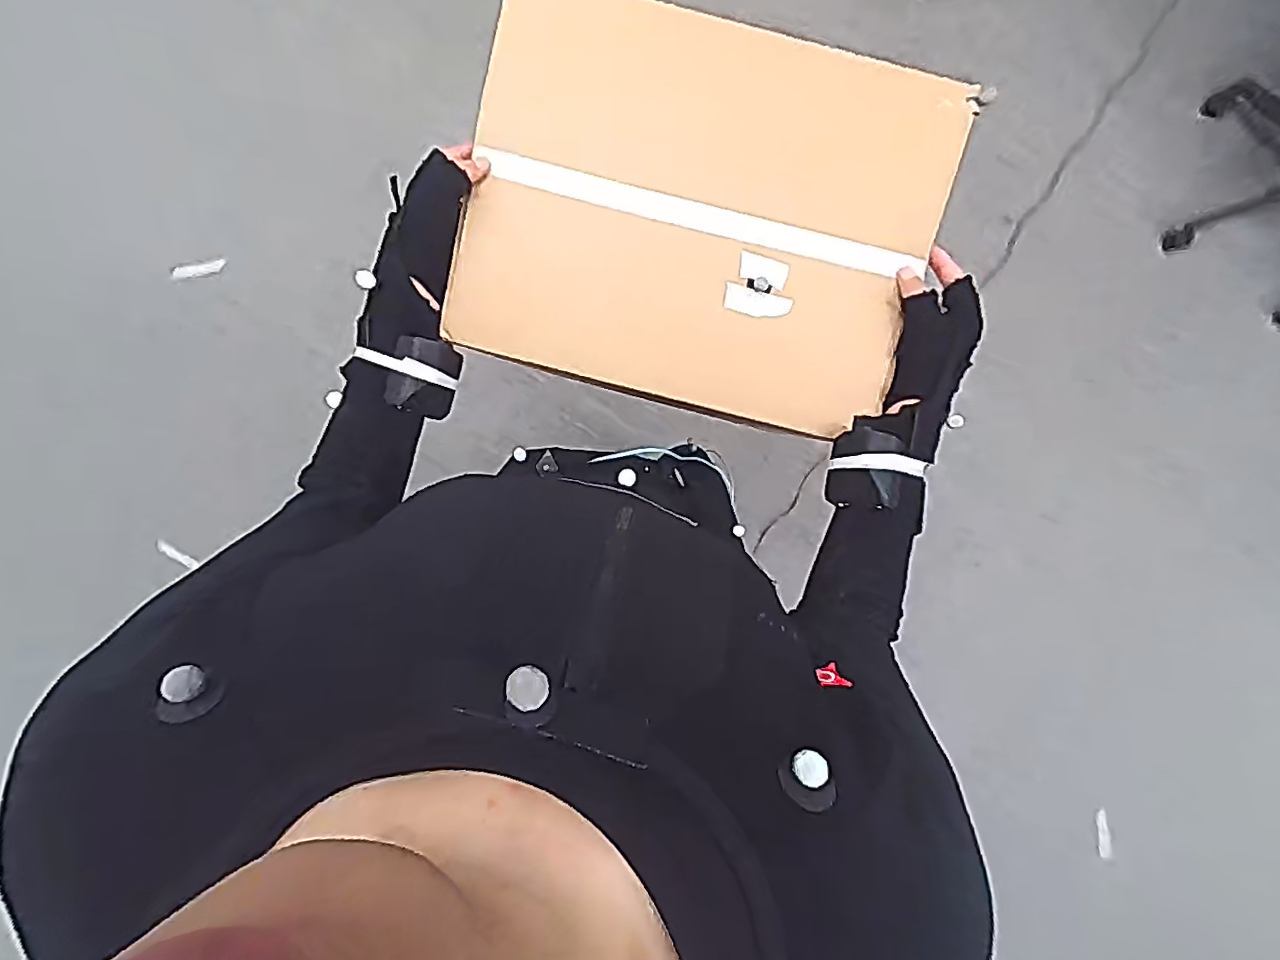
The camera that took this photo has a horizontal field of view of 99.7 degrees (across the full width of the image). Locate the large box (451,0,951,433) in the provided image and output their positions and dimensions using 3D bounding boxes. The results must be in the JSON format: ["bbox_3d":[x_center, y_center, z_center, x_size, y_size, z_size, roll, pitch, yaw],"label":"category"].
[{"bbox_3d":[0.047,-0.250,0.633,0.408,0.320,0.320,13,98,-2],"label":"large box"}]
